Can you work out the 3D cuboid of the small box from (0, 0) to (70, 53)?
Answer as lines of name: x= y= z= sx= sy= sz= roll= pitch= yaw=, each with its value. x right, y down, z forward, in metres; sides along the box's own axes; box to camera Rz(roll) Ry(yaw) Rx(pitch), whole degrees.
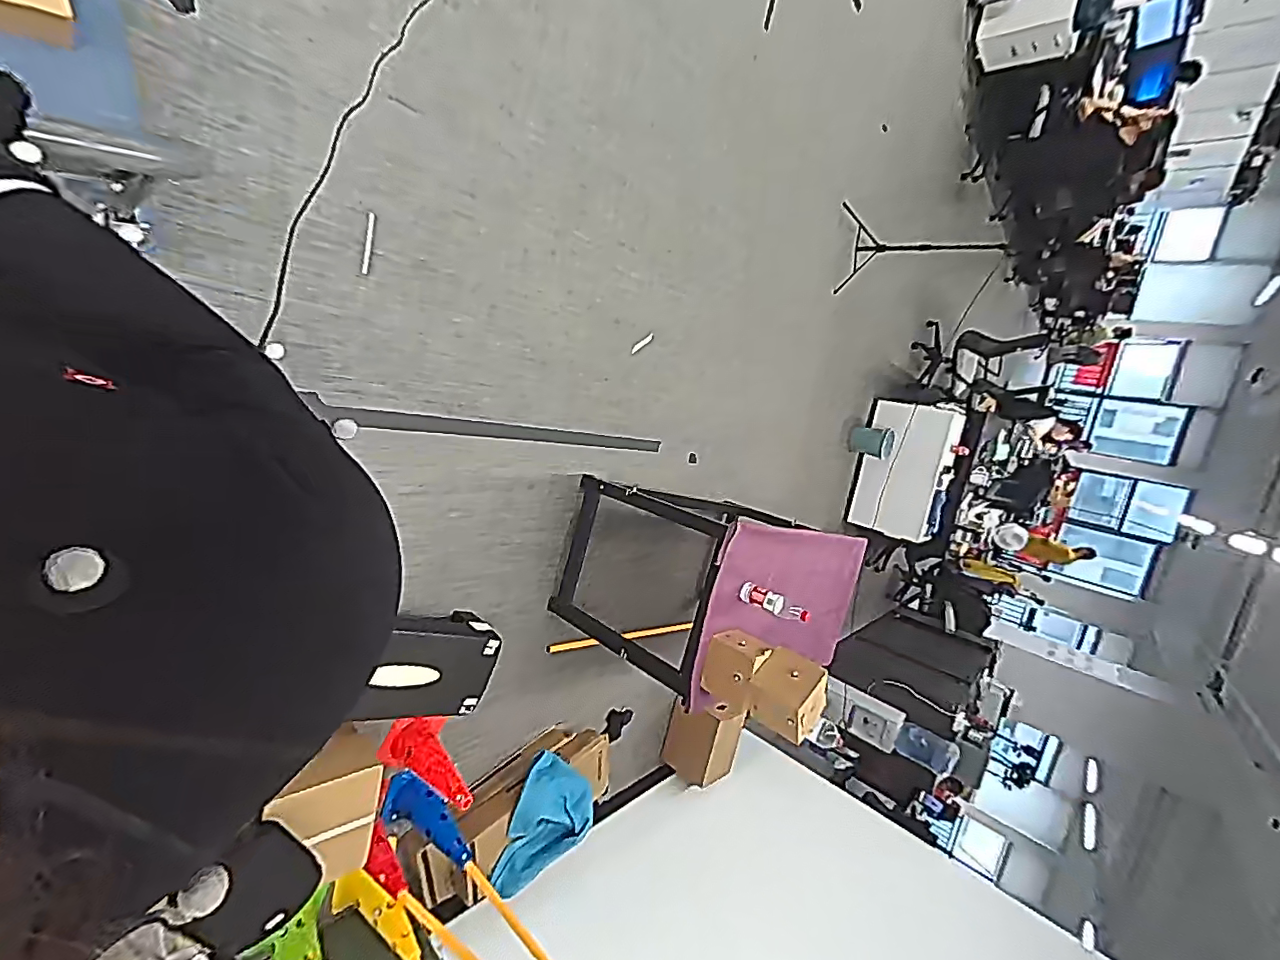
small box: x=-0.882 y=-0.688 z=0.696 sx=0.179 sy=0.176 sz=0.168 roll=-17 pitch=117 yaw=-44
